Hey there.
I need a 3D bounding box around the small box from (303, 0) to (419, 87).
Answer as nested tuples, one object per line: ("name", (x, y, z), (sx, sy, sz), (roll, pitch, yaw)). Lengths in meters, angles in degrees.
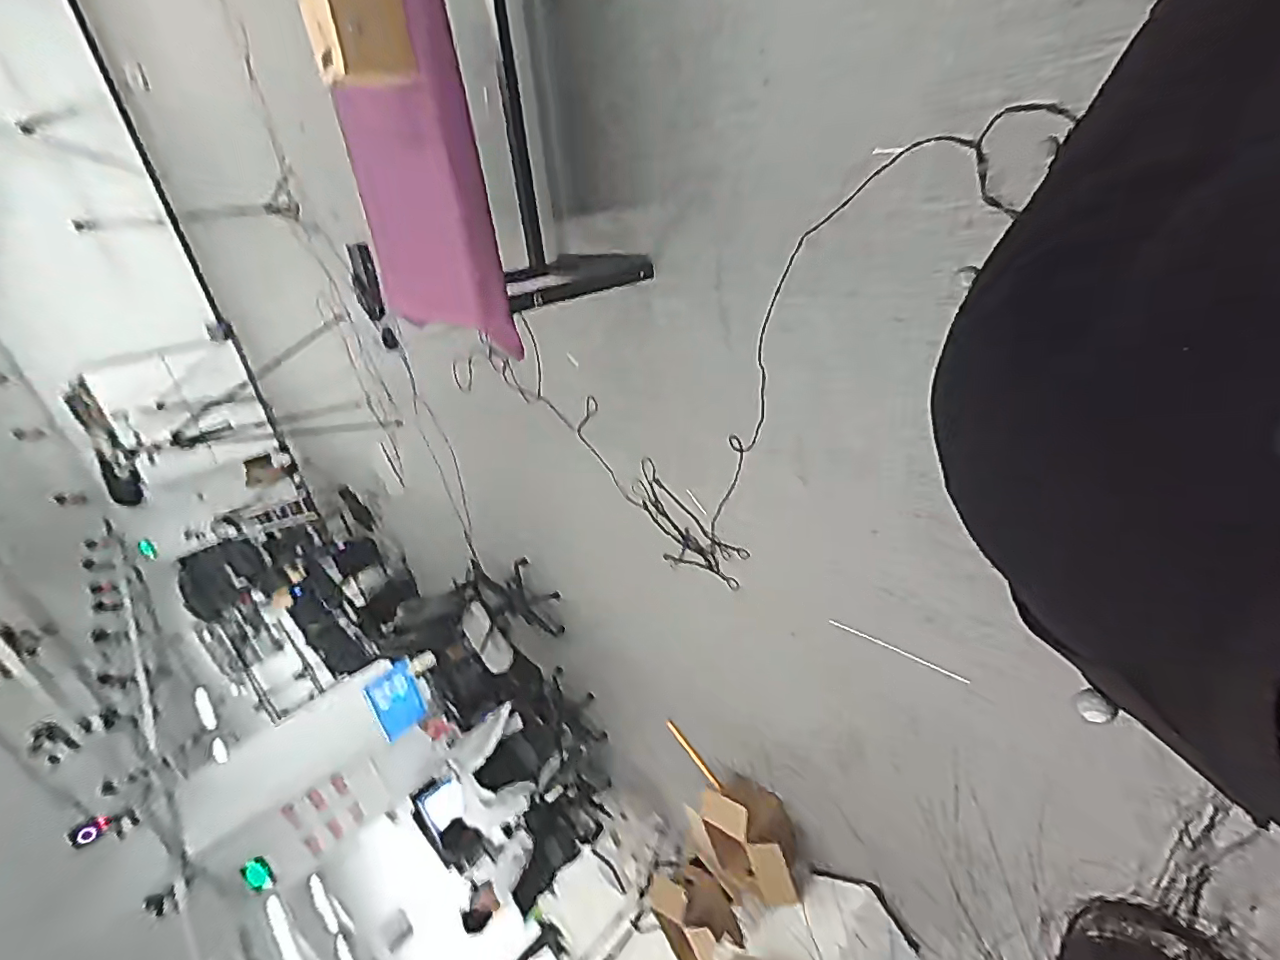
("small box", (-0.627, -1.009, 1.227), (0.168, 0.176, 0.179), (24, 130, 40))
